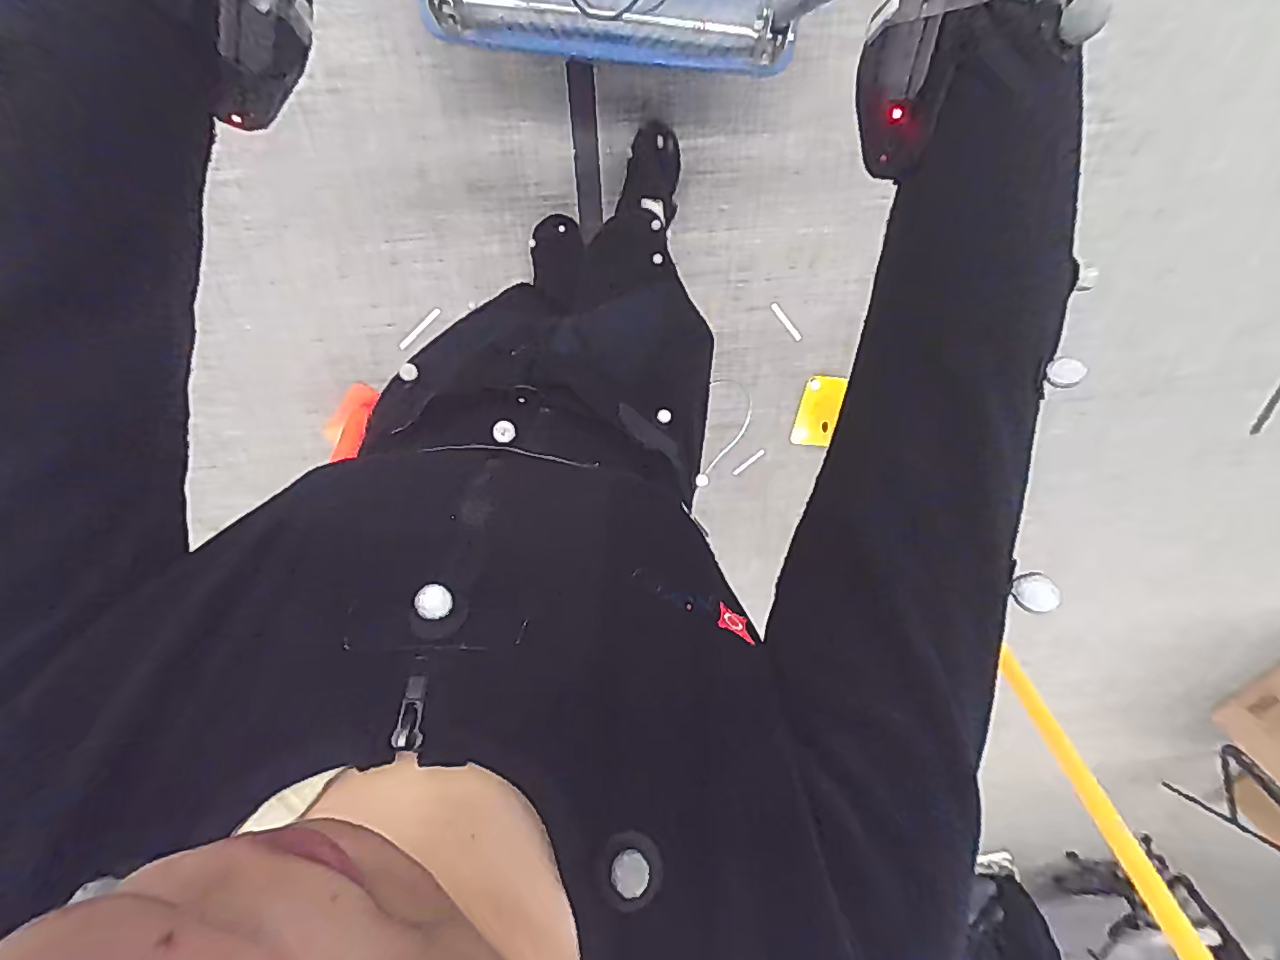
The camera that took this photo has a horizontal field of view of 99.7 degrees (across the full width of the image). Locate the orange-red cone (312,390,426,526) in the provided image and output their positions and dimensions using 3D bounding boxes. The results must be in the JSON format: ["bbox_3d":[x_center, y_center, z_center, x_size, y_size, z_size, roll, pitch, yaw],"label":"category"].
[{"bbox_3d":[-0.658,-0.020,1.233,0.198,0.360,0.199,36,113,-26],"label":"orange-red cone"}]
